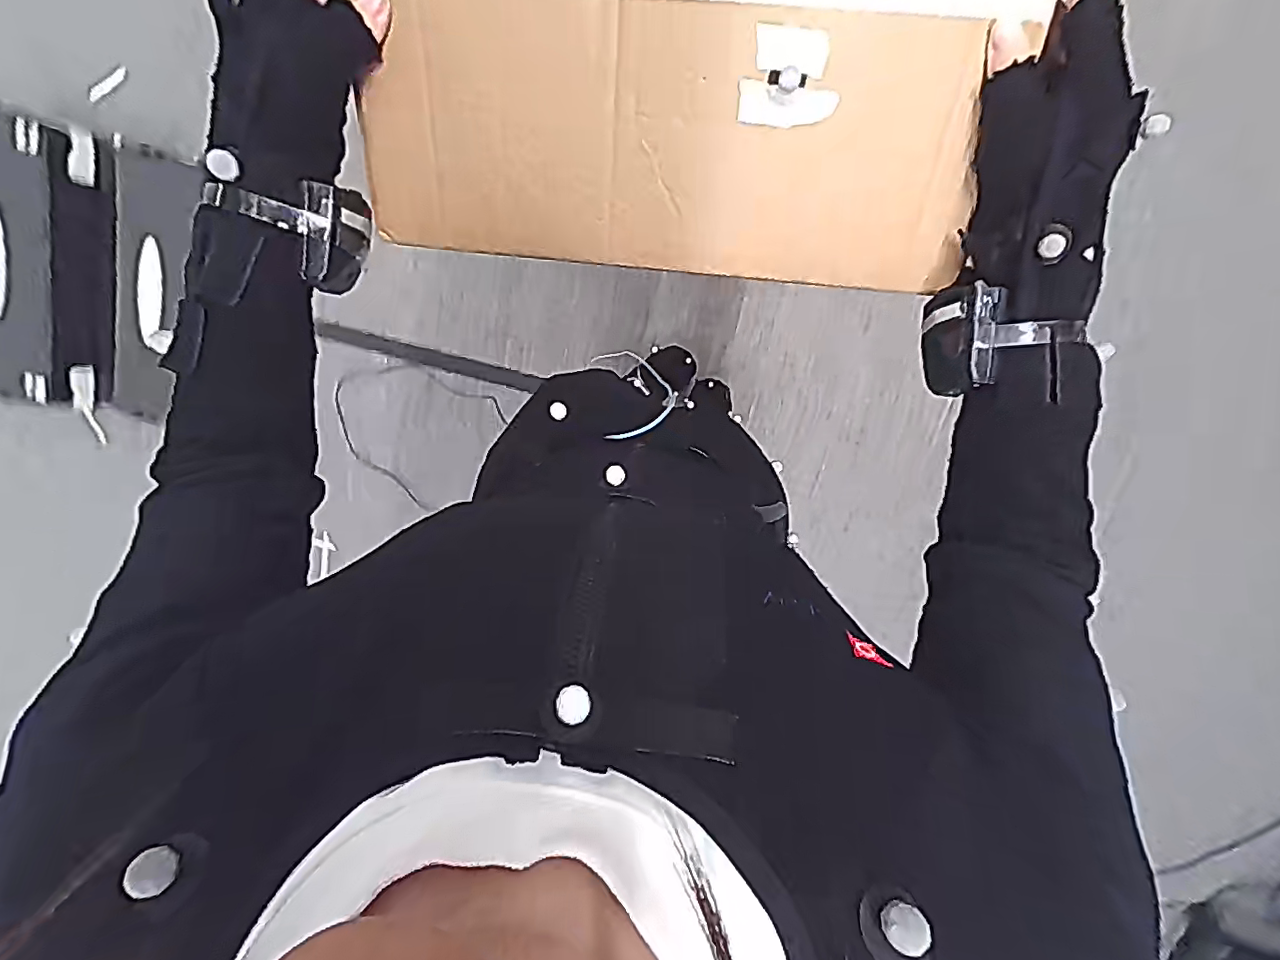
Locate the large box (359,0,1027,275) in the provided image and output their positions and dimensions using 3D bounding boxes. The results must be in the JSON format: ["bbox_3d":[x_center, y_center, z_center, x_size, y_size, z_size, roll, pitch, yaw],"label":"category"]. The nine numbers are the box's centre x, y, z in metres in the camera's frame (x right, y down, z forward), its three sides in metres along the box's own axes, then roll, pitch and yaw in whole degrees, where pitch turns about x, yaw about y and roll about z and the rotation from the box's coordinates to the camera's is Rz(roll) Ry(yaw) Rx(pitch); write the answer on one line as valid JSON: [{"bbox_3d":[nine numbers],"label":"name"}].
[{"bbox_3d":[0.035,-0.362,0.448,0.408,0.320,0.320,5,120,2],"label":"large box"}]

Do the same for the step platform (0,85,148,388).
[{"bbox_3d":[-1.471,-0.584,1.365,0.286,0.204,0.684,14,102,2],"label":"step platform"}]
